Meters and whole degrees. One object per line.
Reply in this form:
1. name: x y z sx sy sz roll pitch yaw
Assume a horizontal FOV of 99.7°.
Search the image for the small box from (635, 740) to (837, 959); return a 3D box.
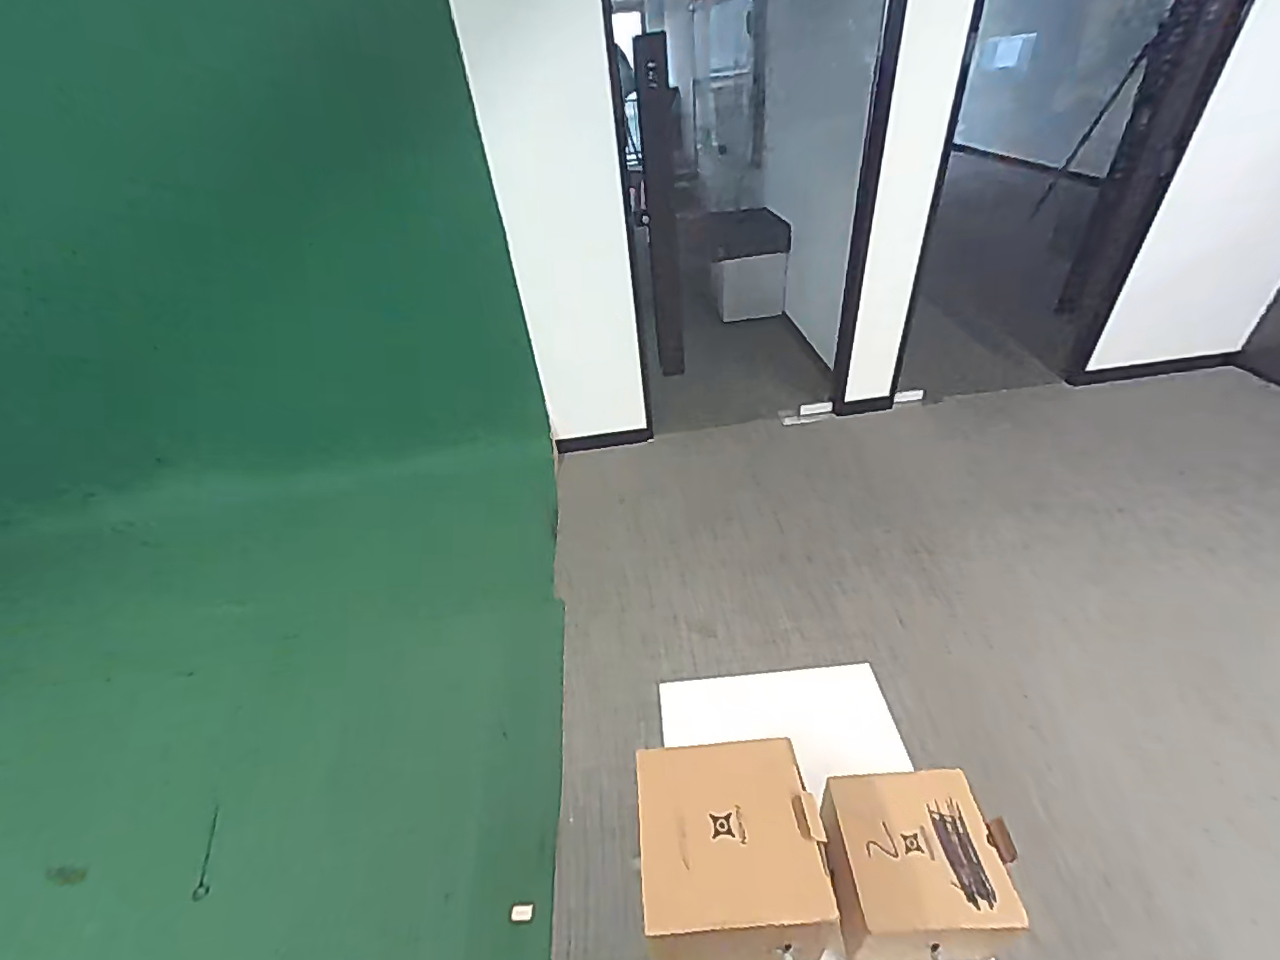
1. small box: 0.090 0.408 0.585 0.179 0.176 0.168 -6 37 1
